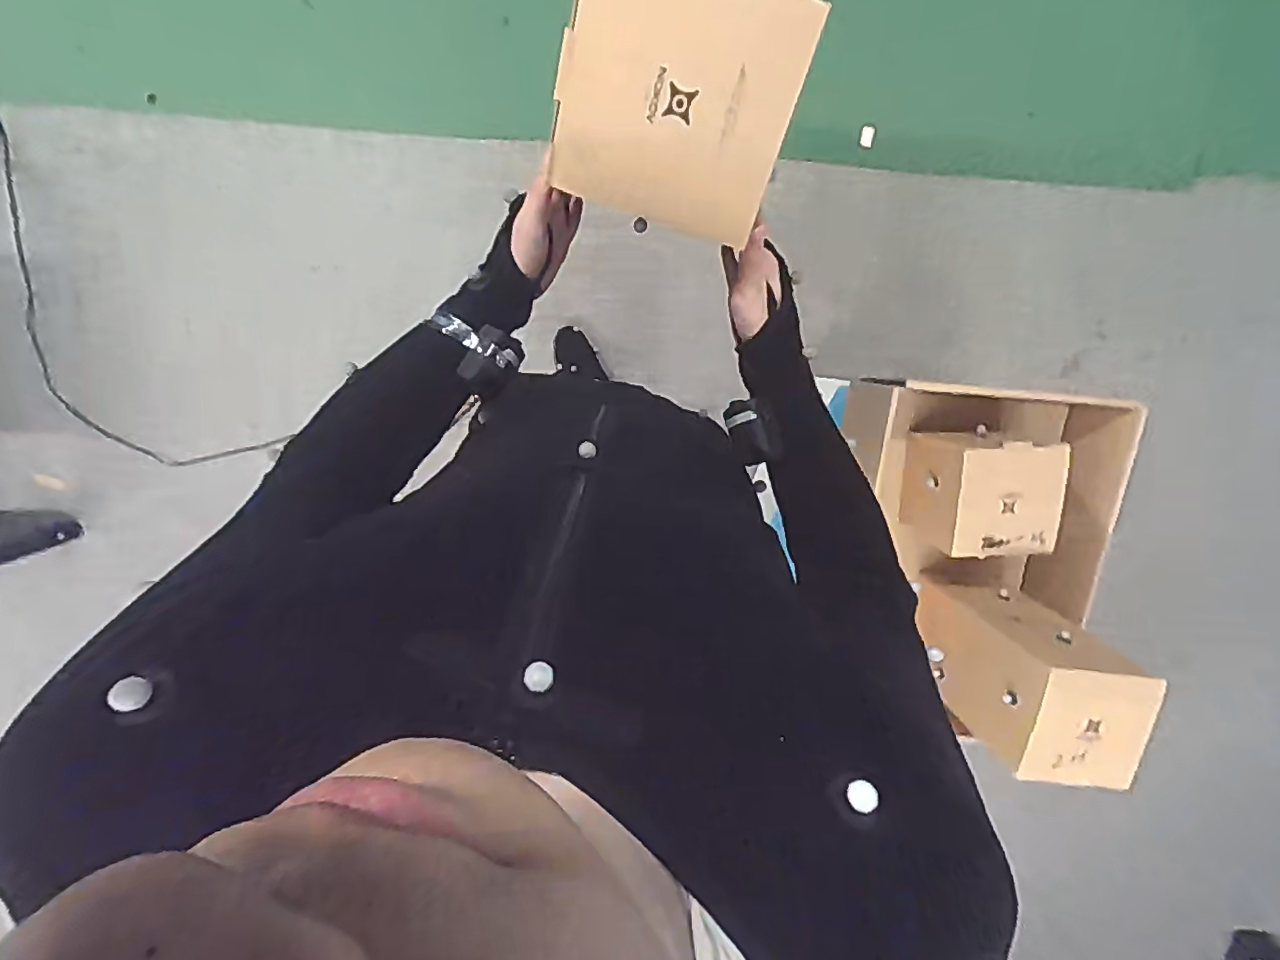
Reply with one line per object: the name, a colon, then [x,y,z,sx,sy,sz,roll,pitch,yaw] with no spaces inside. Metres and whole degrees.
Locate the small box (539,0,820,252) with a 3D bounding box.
small box: [0.029,-0.317,0.479,0.179,0.176,0.168,17,119,-2]

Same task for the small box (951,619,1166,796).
small box: [0.602,0.327,0.806,0.168,0.176,0.179,8,103,-3]
